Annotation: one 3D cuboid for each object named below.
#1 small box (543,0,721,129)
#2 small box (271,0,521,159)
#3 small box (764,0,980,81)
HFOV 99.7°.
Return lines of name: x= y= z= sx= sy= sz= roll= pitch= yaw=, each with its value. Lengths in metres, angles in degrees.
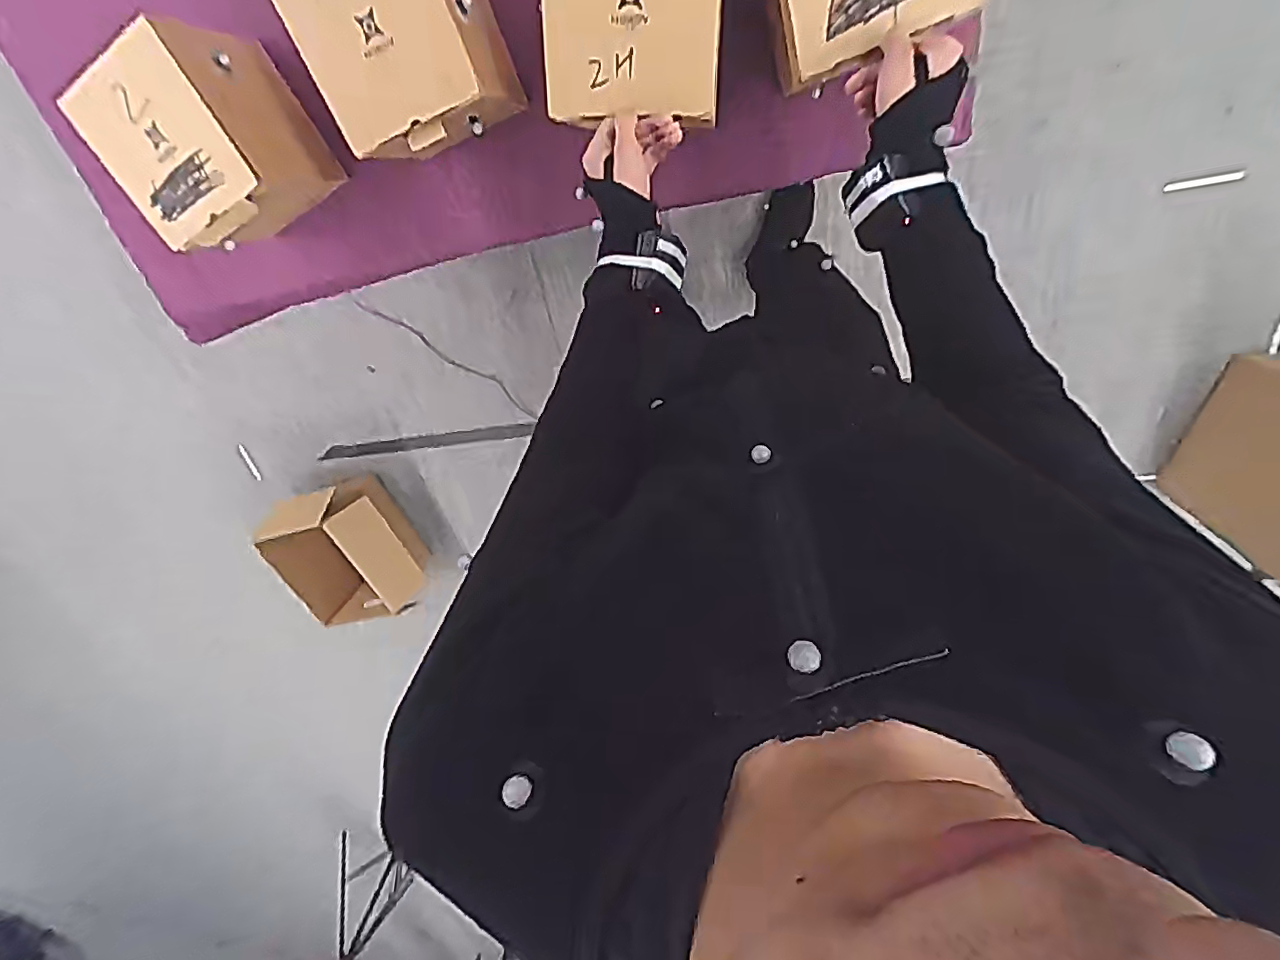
small box: x=-0.001 y=-0.477 z=0.565 sx=0.168 sy=0.176 sz=0.179 roll=4 pitch=121 yaw=6
small box: x=-0.256 y=-0.483 z=0.599 sx=0.168 sy=0.176 sz=0.179 roll=-15 pitch=118 yaw=15
small box: x=0.206 y=-0.511 z=0.515 sx=0.168 sy=0.176 sz=0.179 roll=-13 pitch=117 yaw=15
